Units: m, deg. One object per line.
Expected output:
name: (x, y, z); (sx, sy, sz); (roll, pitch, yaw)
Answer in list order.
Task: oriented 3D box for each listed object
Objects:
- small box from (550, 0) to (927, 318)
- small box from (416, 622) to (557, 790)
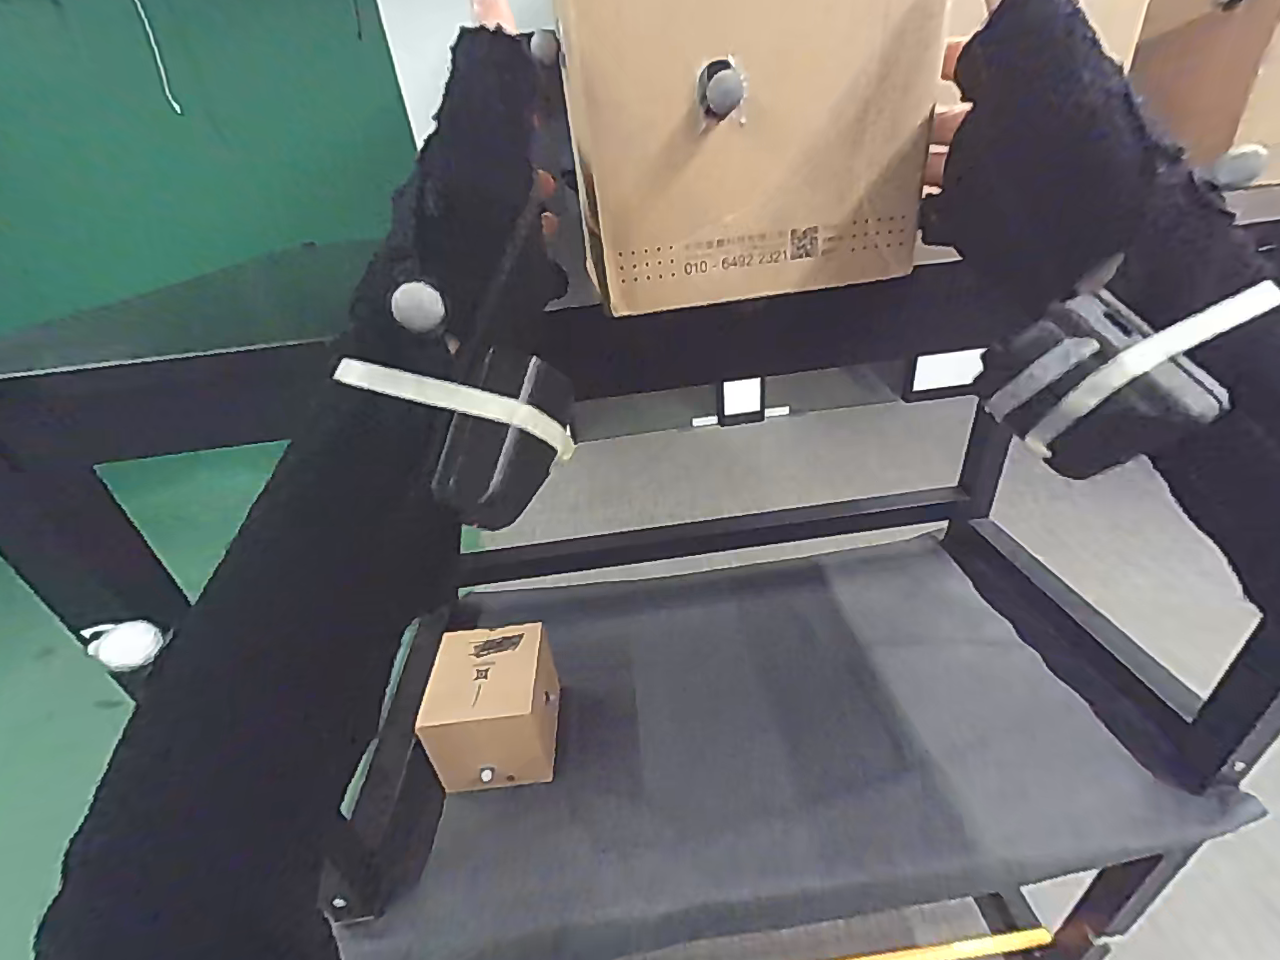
small box: (0.043, -0.200, 0.317); (0.168, 0.176, 0.179); (-9, 31, -4)
small box: (-0.229, 0.356, 0.862); (0.168, 0.176, 0.179); (-7, 31, 0)
